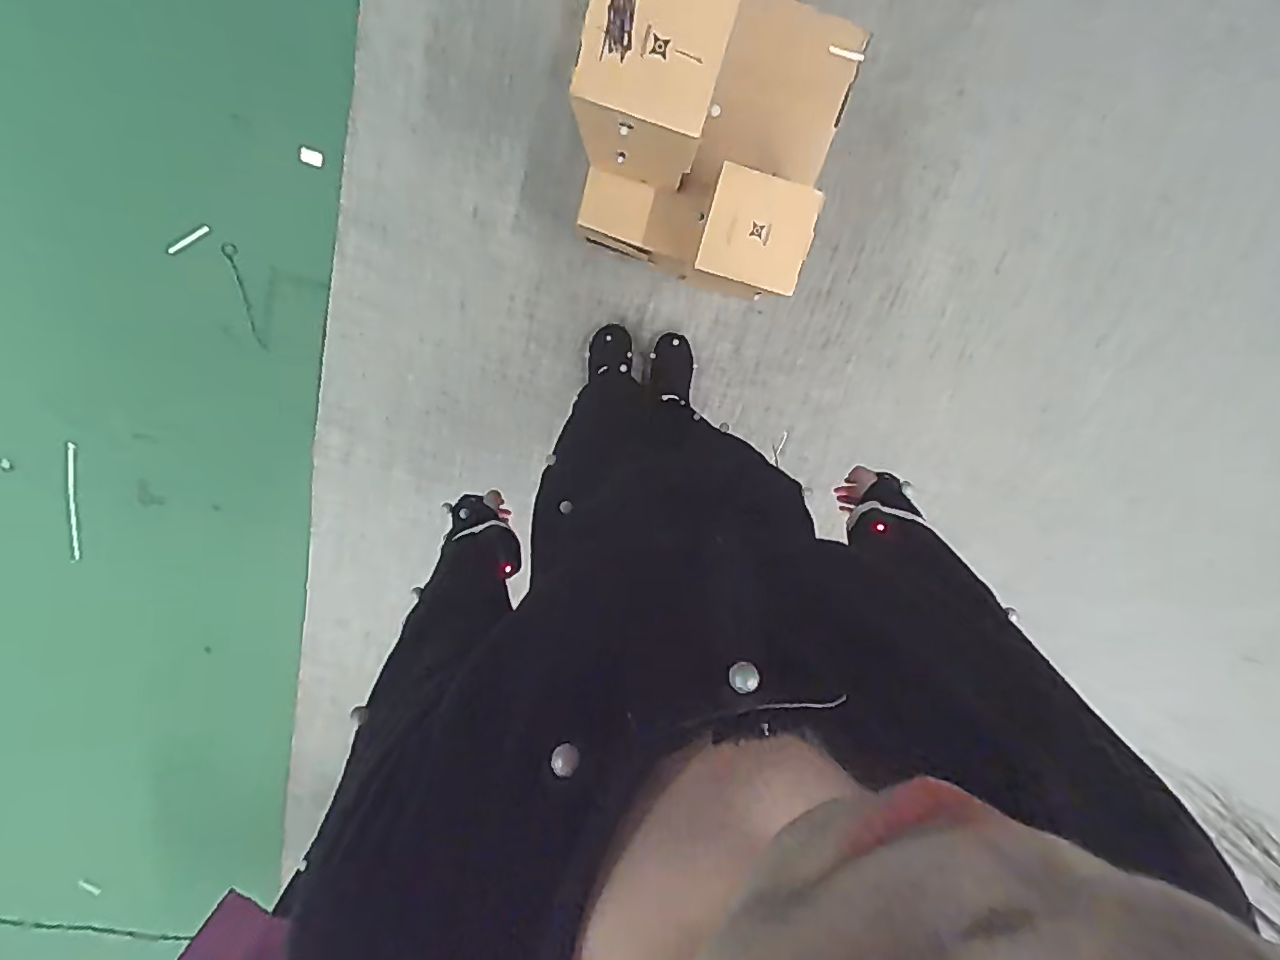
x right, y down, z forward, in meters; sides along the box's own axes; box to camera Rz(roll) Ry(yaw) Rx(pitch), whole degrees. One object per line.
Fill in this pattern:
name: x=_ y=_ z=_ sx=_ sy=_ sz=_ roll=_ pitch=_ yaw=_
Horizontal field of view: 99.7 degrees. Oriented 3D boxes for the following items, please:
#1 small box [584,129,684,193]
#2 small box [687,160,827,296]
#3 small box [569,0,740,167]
small box: x=0.013 y=-0.607 z=0.893 sx=0.168 sy=0.176 sz=0.179 roll=17 pitch=105 yaw=-5
small box: x=0.193 y=-0.429 z=0.948 sx=0.179 sy=0.176 sz=0.168 roll=14 pitch=106 yaw=-5
small box: x=0.016 y=-0.555 z=0.736 sx=0.179 sy=0.176 sz=0.168 roll=16 pitch=106 yaw=-5
